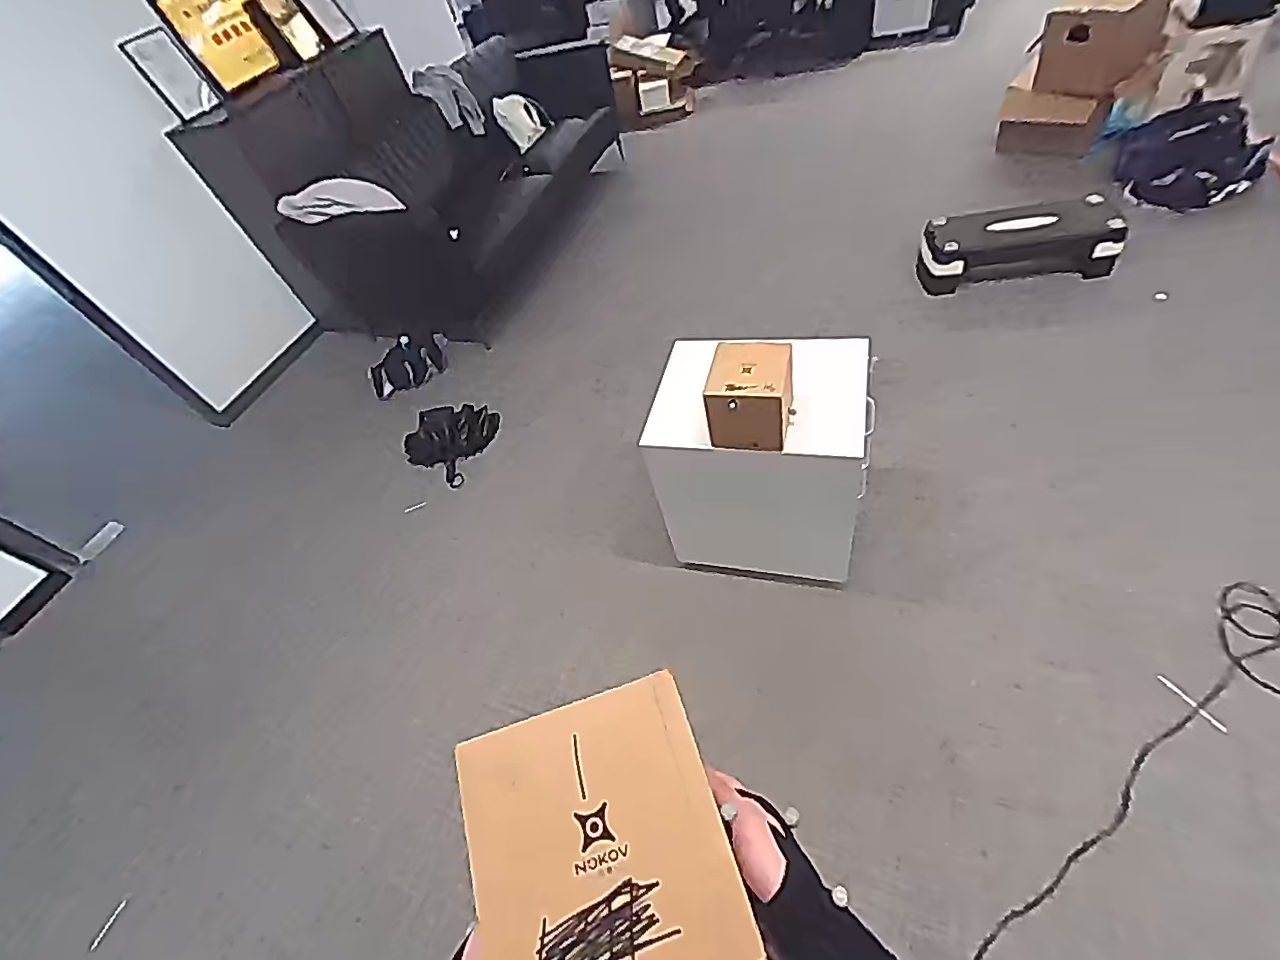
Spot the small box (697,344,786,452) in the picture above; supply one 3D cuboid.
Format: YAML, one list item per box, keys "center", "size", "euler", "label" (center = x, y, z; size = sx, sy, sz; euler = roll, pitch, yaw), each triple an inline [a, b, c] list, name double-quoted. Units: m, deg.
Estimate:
- center: [0.234, -0.185, 1.215]
  size: [0.168, 0.176, 0.179]
  euler: [4, 51, 20]
  label: "small box"
